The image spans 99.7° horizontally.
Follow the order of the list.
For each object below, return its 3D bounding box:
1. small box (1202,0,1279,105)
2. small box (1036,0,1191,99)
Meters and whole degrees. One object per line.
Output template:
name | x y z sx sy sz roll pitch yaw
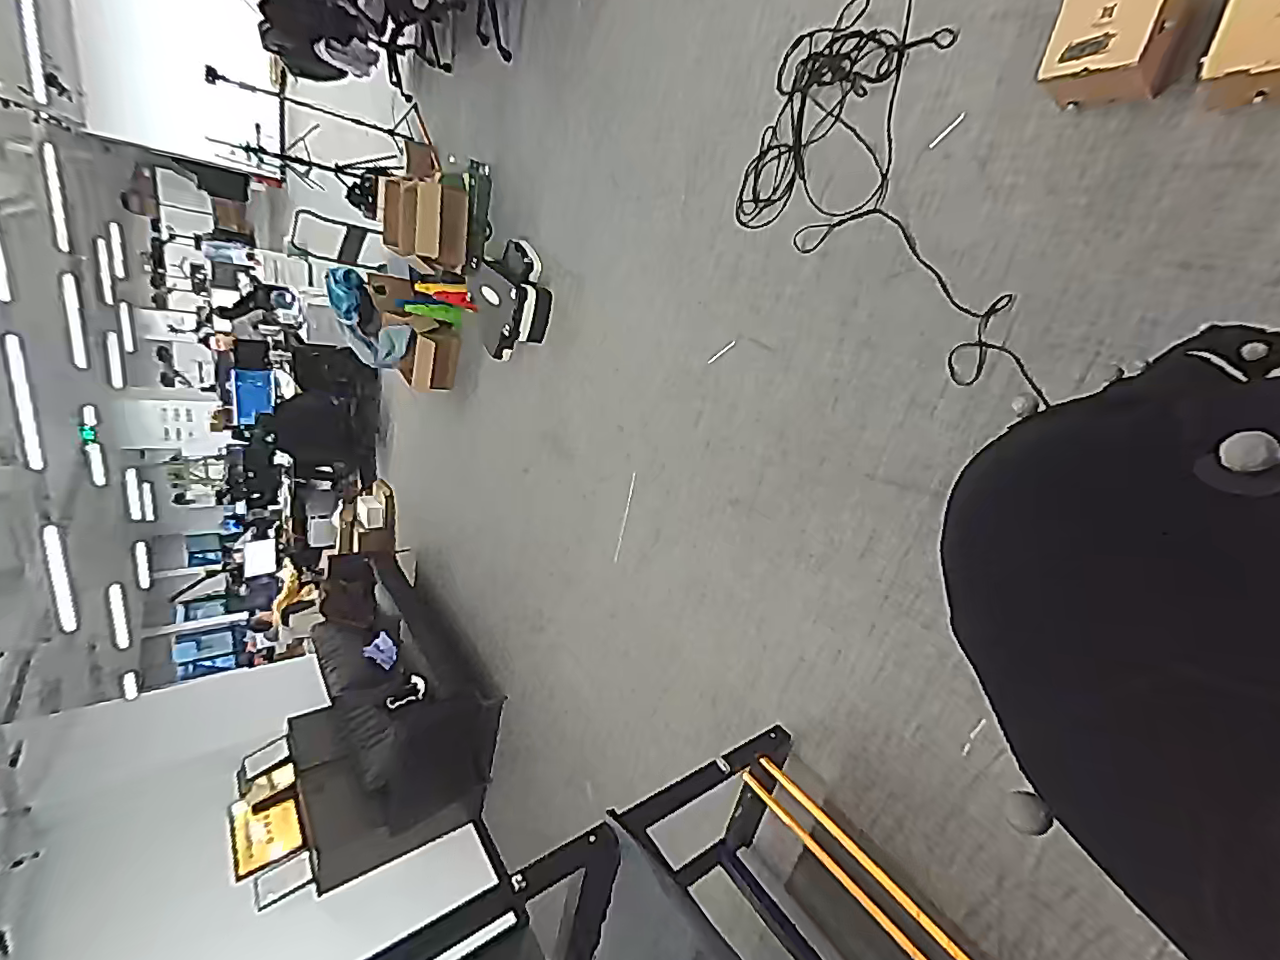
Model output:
small box | 1.072 -0.752 0.882 0.168 0.176 0.179 27 116 47
small box | 0.922 -0.871 1.051 0.168 0.176 0.179 31 116 45
